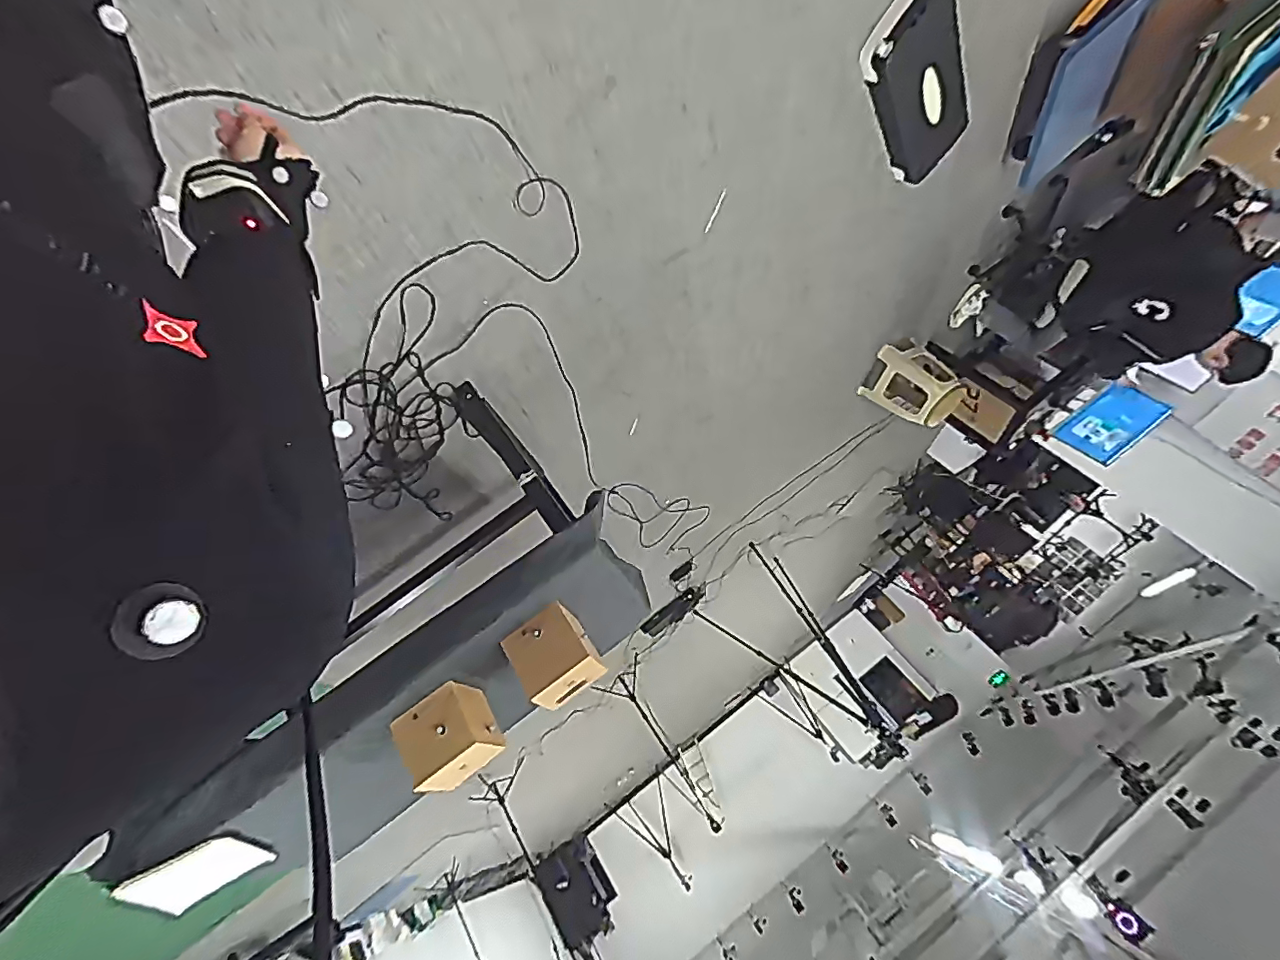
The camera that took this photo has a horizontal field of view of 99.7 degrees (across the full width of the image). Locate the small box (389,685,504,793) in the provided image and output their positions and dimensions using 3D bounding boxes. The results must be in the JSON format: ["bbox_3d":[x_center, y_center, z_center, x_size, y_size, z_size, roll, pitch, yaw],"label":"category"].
[{"bbox_3d":[-0.462,0.615,1.292,0.168,0.176,0.179,-36,151,-9],"label":"small box"}]
